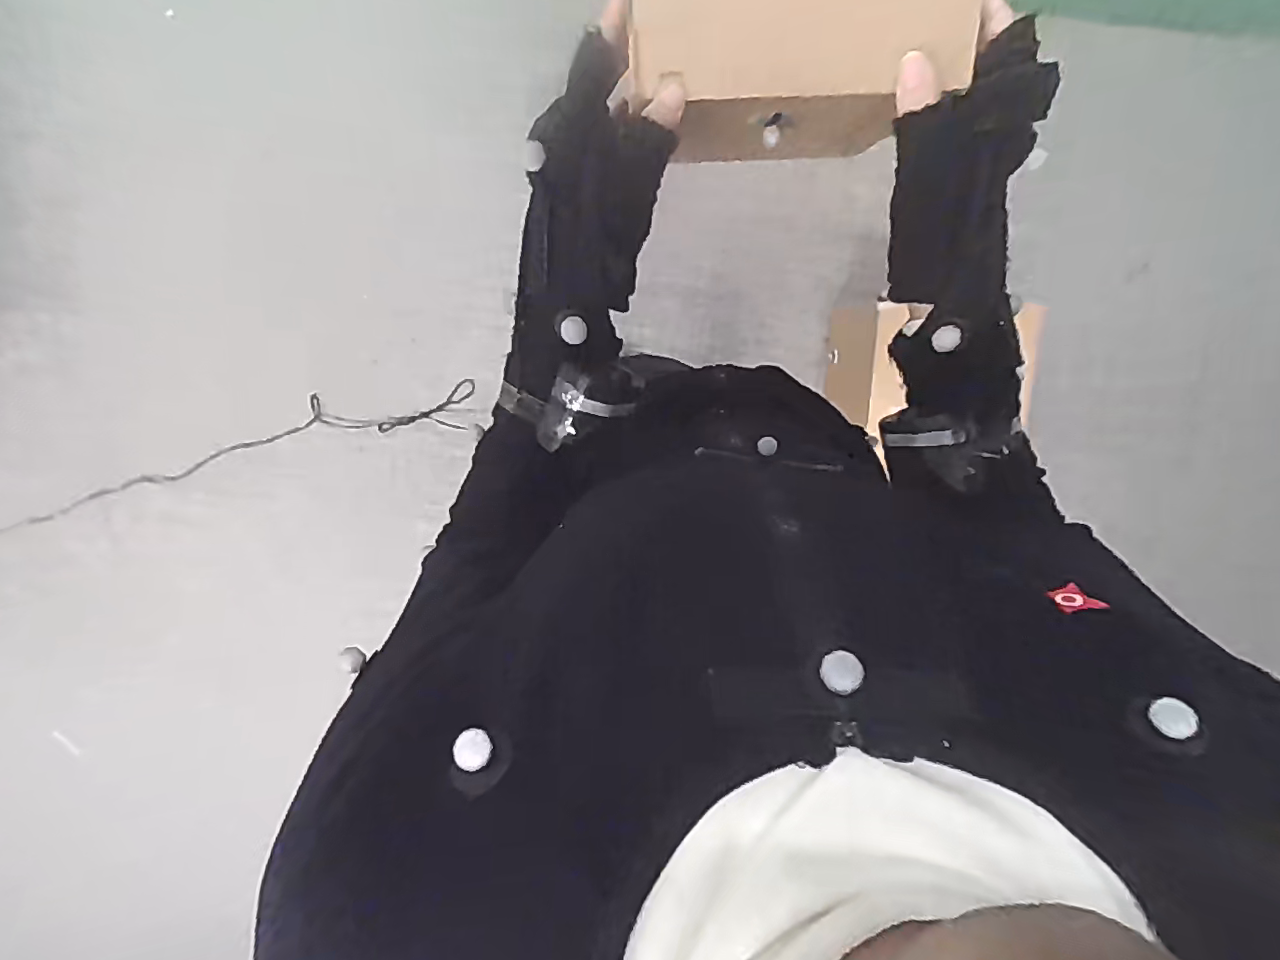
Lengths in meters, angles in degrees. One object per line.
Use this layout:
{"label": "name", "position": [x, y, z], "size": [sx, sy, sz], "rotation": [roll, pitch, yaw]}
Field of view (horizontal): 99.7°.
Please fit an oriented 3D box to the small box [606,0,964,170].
{"label": "small box", "position": [0.069, -0.297, 0.326], "size": [0.179, 0.176, 0.168], "rotation": [-3, 111, 1]}
